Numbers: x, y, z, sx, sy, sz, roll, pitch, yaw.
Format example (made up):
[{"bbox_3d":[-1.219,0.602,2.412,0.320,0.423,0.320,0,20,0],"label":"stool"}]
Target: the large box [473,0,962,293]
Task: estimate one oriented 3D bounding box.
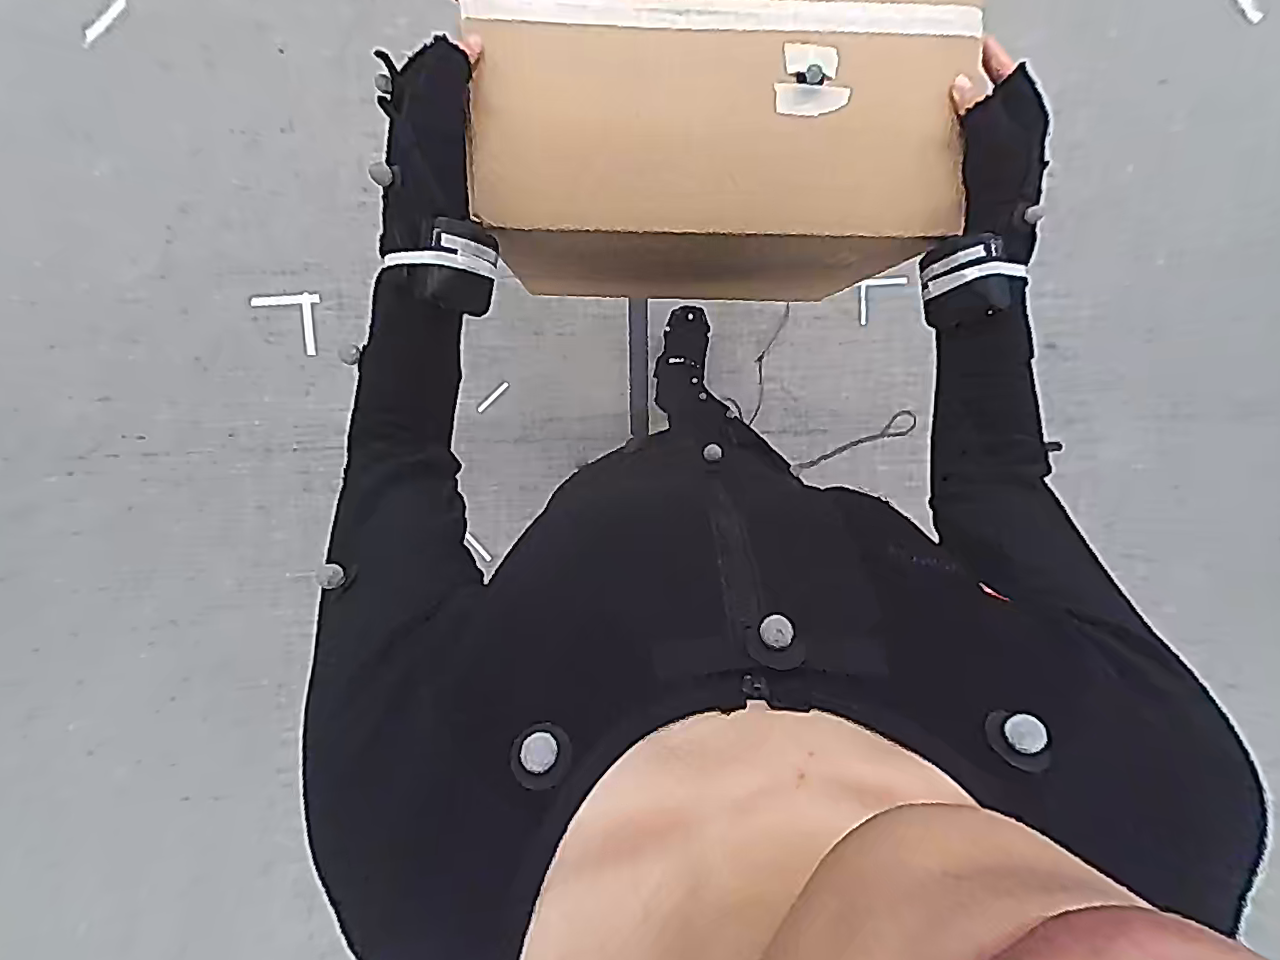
[{"bbox_3d":[0.055,-0.391,0.582,0.408,0.320,0.320,-1,100,-3],"label":"large box"}]
